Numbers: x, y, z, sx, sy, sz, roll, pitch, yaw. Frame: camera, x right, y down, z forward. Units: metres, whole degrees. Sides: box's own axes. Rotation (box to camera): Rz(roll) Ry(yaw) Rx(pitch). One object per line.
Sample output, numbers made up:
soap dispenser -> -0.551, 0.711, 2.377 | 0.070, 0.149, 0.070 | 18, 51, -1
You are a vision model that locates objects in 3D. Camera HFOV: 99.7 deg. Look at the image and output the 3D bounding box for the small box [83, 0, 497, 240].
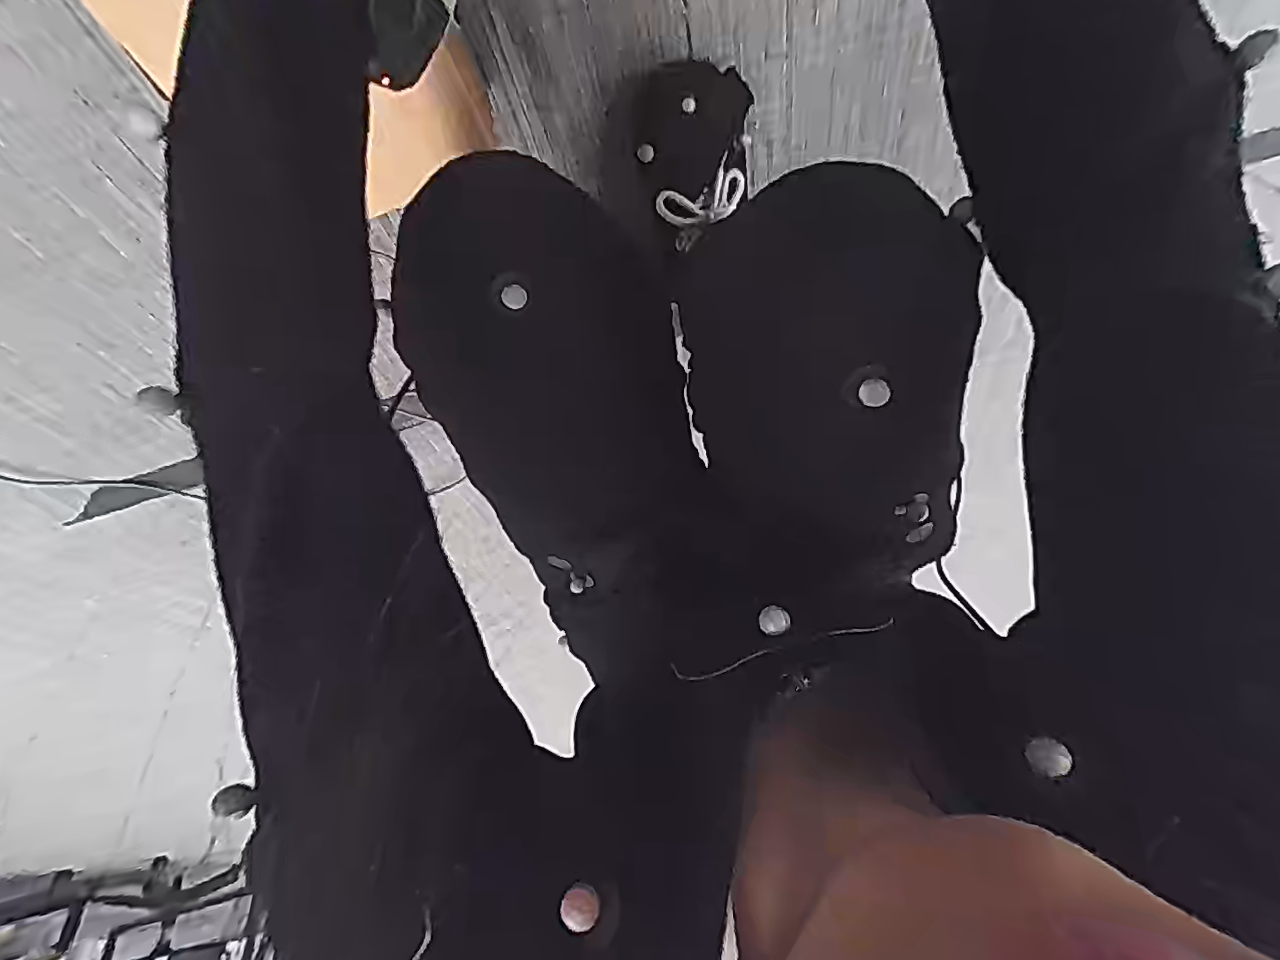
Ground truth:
small box -> -0.222, -0.316, 0.387 | 0.179, 0.176, 0.168 | -20, 145, 5
